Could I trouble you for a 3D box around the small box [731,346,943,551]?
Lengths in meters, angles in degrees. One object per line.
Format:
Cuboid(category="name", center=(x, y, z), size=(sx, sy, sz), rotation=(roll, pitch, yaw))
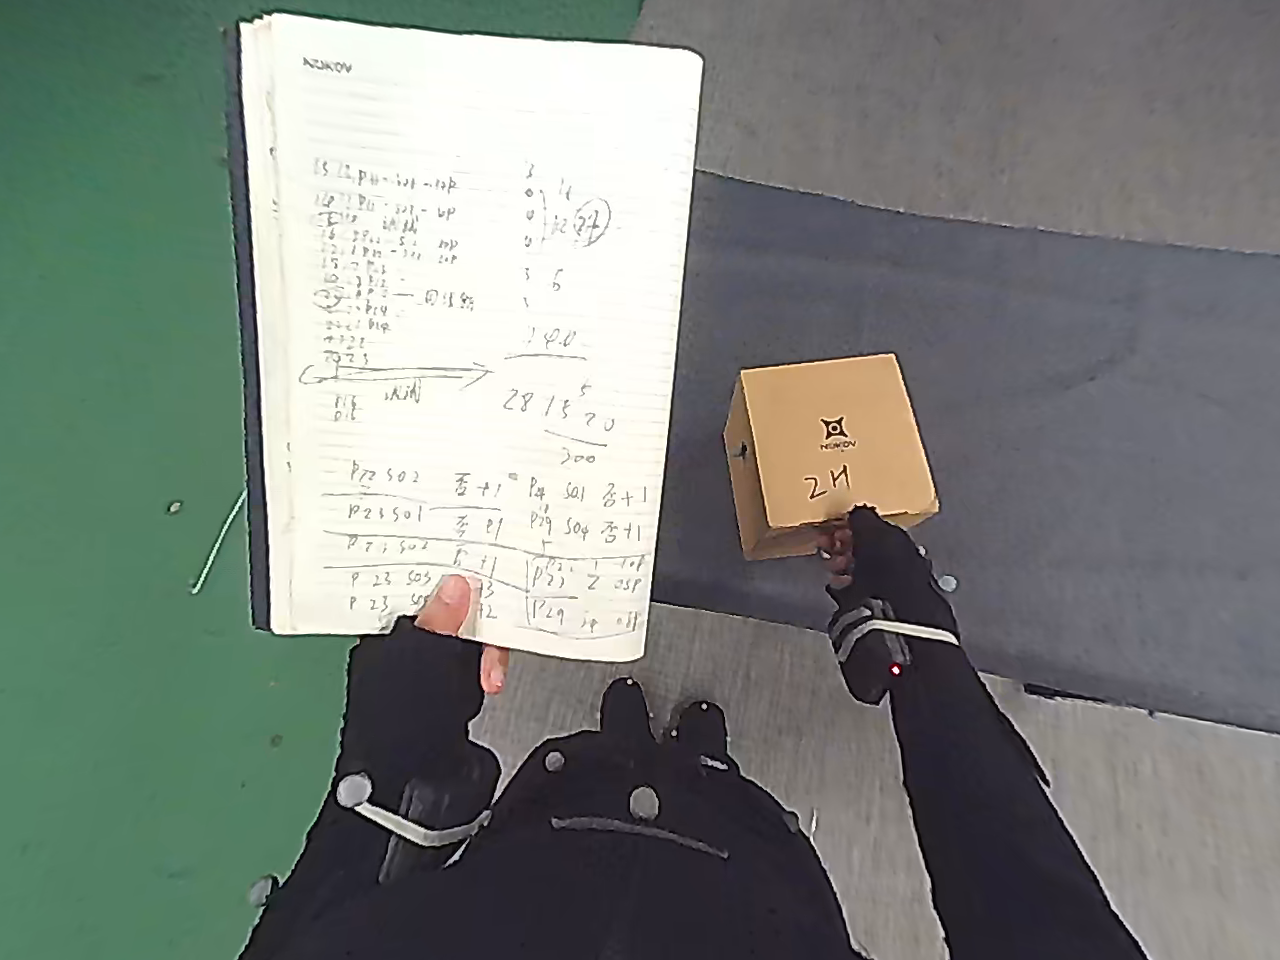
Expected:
Cuboid(category="small box", center=(0.204, -0.027, 0.618), size=(0.168, 0.176, 0.179), rotation=(-7, 71, 1))
